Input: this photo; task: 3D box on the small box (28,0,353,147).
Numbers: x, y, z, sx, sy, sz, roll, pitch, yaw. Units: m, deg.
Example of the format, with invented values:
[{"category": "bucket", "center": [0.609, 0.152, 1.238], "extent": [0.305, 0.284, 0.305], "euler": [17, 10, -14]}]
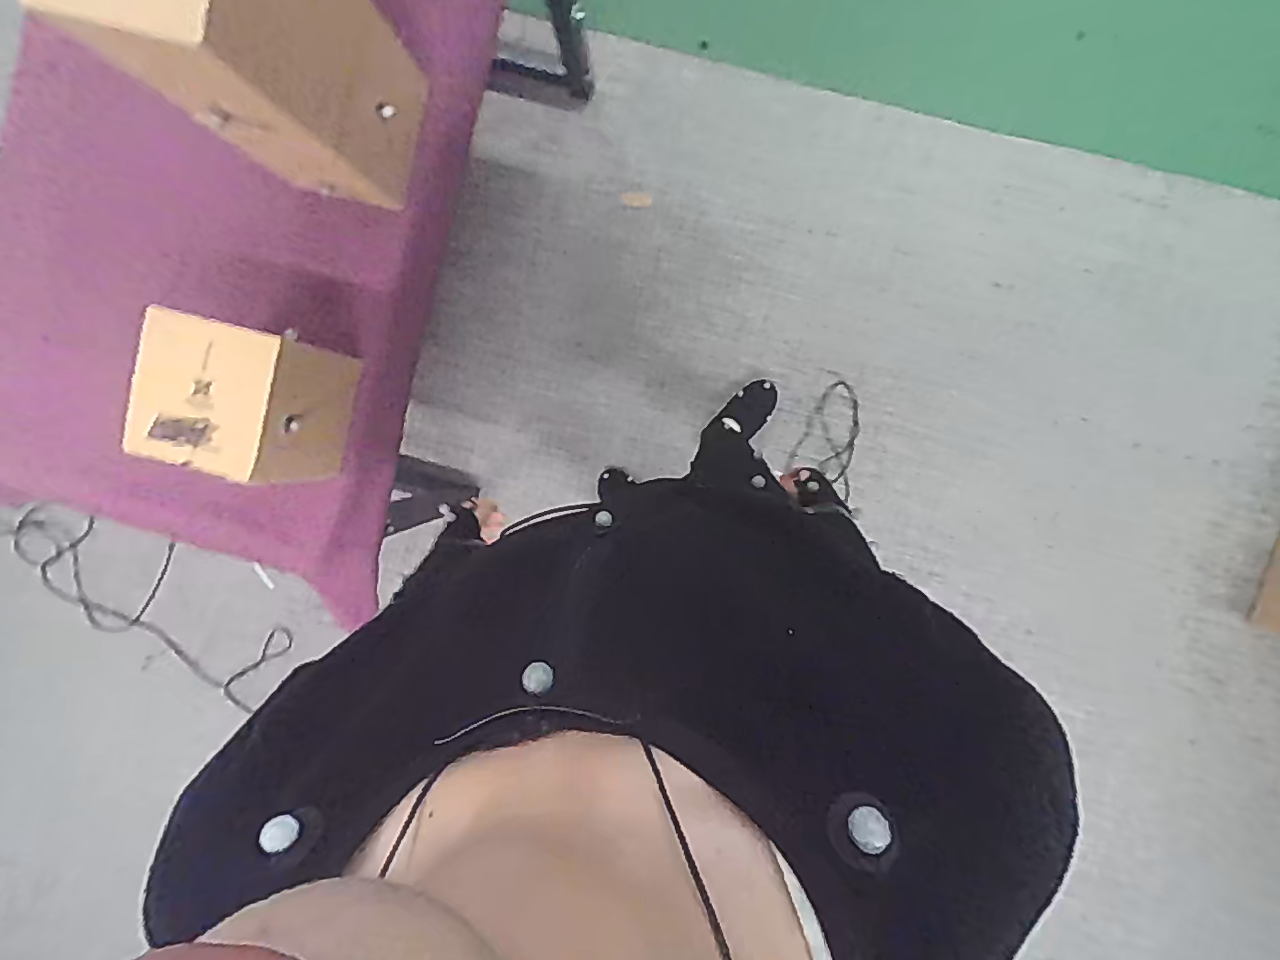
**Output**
[{"category": "small box", "center": [-0.403, -0.459, 0.507], "extent": [0.168, 0.176, 0.179], "euler": [16, 95, 4]}]

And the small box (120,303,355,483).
[{"category": "small box", "center": [-0.503, -0.104, 0.699], "extent": [0.168, 0.176, 0.179], "euler": [14, 94, 3]}]
